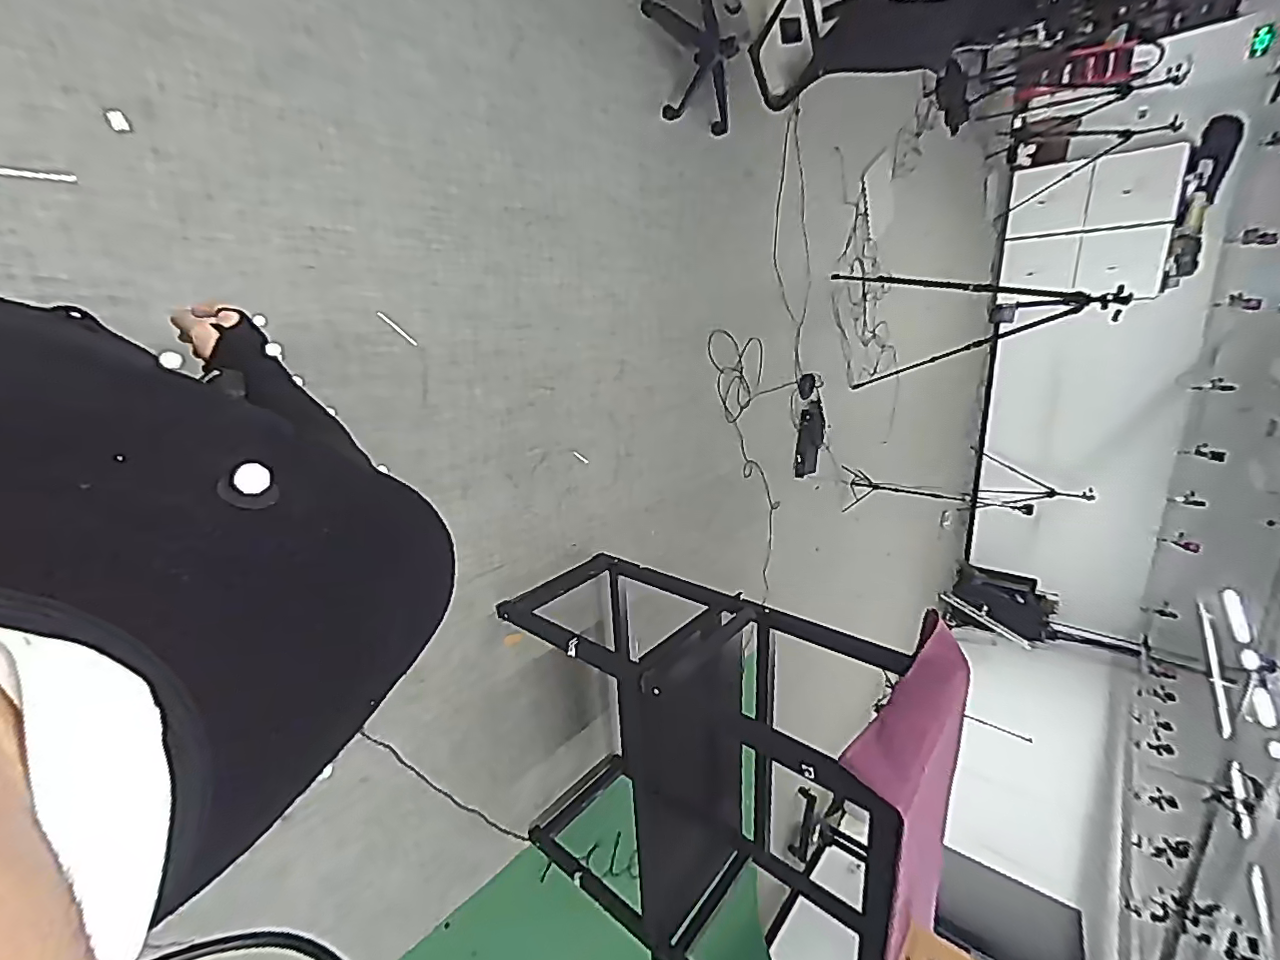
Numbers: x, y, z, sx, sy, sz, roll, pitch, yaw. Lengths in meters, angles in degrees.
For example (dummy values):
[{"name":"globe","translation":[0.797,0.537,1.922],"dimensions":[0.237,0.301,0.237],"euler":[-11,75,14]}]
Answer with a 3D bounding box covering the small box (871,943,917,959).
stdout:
[{"name":"small box","translation":[0.653,1.323,1.354],"dimensions":[0.168,0.176,0.179],"euler":[-17,112,-48]}]
